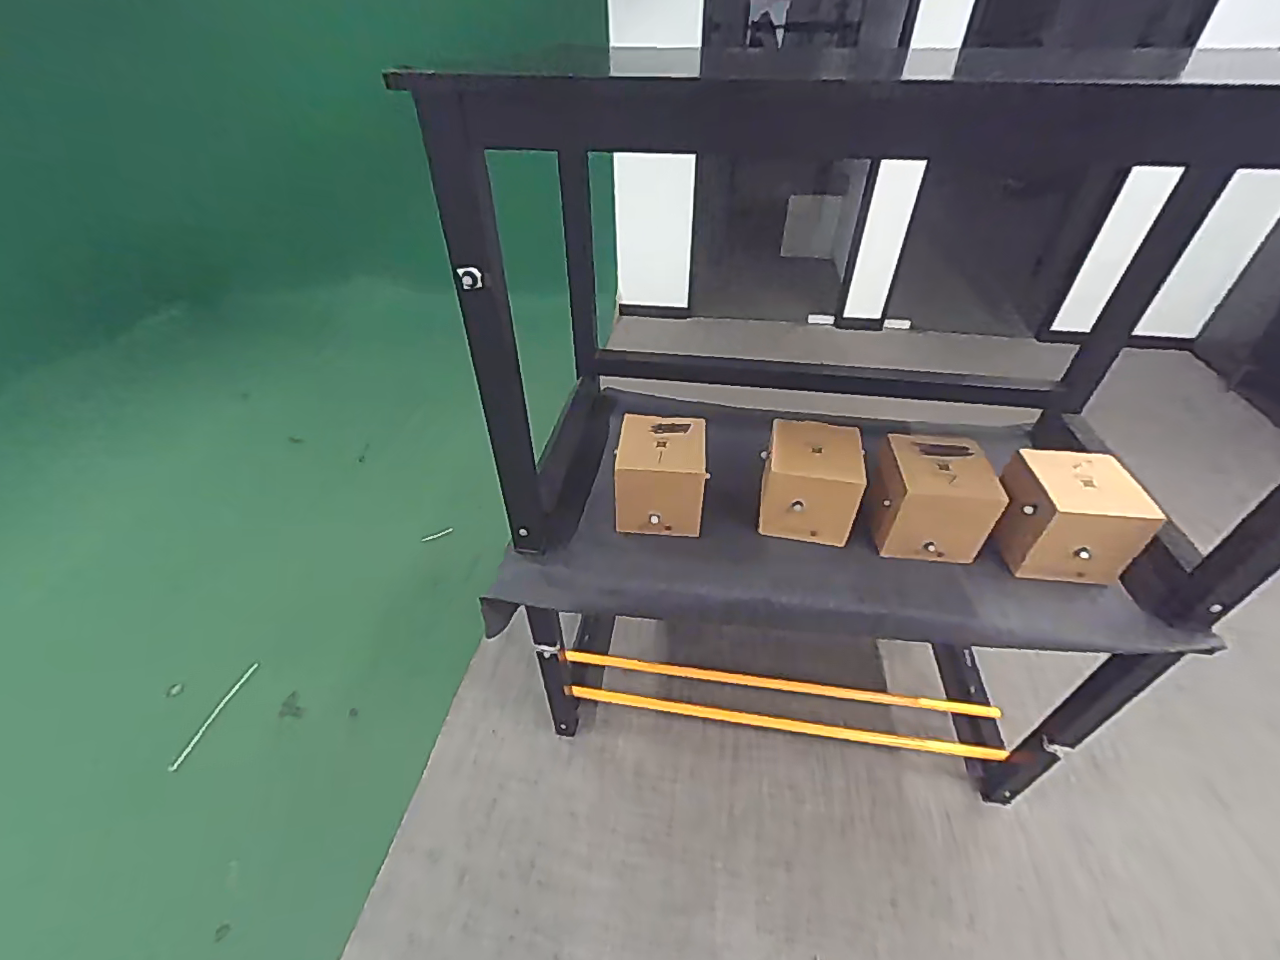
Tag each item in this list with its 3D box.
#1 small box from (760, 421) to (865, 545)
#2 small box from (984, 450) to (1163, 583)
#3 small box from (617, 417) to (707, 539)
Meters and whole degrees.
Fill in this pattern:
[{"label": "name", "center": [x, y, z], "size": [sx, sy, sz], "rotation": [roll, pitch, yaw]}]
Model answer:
[{"label": "small box", "center": [0.334, 0.006, 1.067], "size": [0.168, 0.176, 0.179], "rotation": [8, 41, 10]}, {"label": "small box", "center": [0.771, 0.067, 0.987], "size": [0.168, 0.176, 0.179], "rotation": [5, 40, 6]}, {"label": "small box", "center": [0.045, -0.006, 1.080], "size": [0.168, 0.176, 0.179], "rotation": [3, 41, 4]}]
